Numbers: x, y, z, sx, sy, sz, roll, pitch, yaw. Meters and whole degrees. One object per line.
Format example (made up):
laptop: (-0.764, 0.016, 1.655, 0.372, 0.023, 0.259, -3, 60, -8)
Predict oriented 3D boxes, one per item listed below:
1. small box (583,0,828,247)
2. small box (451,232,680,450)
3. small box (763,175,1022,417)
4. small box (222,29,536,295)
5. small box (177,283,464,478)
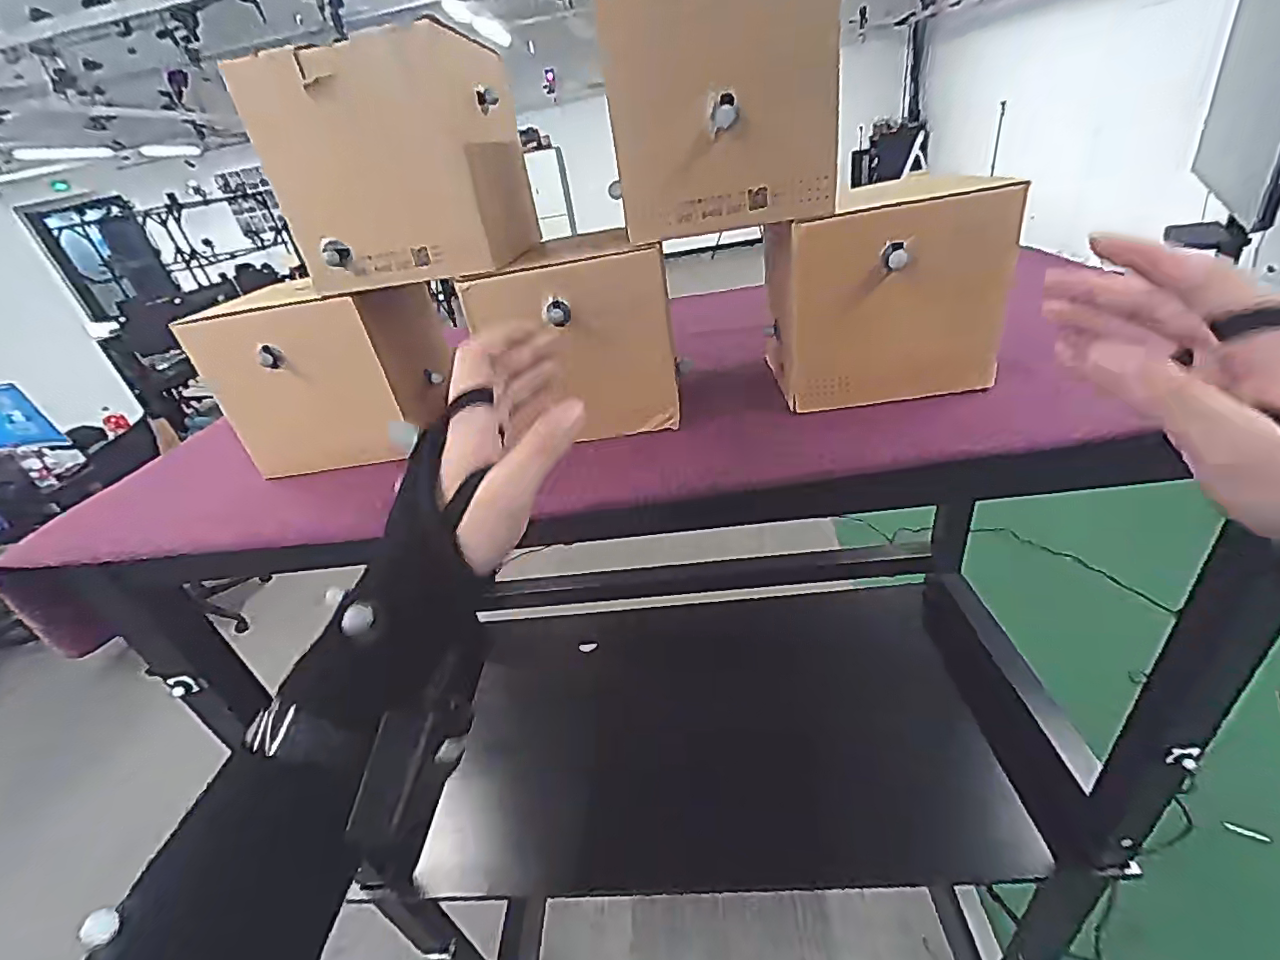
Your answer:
small box: (0.058, -0.303, 0.459, 0.168, 0.176, 0.179, -7, 32, 6)
small box: (-0.057, -0.142, 0.549, 0.179, 0.176, 0.168, -7, 31, 7)
small box: (0.218, -0.177, 0.519, 0.179, 0.176, 0.168, -8, 31, 8)
small box: (-0.207, -0.273, 0.492, 0.168, 0.176, 0.179, -5, 31, 8)
small box: (-0.321, -0.116, 0.588, 0.179, 0.176, 0.168, -8, 32, 6)
